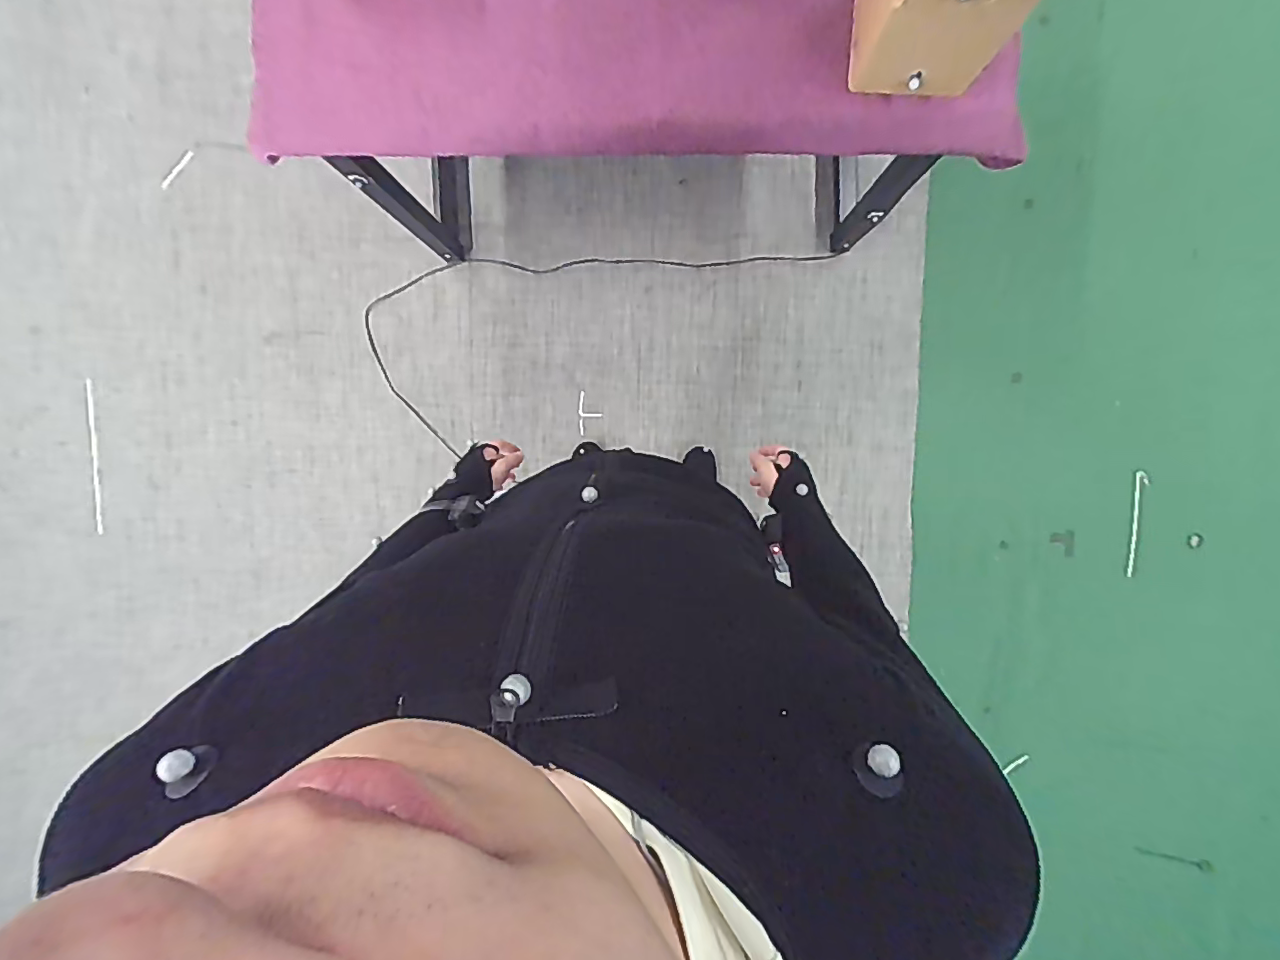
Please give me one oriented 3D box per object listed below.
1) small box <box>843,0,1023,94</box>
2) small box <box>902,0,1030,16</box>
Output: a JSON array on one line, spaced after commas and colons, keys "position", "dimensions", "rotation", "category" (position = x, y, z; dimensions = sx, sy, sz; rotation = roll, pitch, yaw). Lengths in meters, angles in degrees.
[{"position": [0.409, -0.684, 0.765], "dimensions": [0.179, 0.176, 0.168], "rotation": [4, 93, 1], "category": "small box"}, {"position": [0.406, -0.677, 0.602], "dimensions": [0.168, 0.176, 0.179], "rotation": [4, 93, 3], "category": "small box"}]
